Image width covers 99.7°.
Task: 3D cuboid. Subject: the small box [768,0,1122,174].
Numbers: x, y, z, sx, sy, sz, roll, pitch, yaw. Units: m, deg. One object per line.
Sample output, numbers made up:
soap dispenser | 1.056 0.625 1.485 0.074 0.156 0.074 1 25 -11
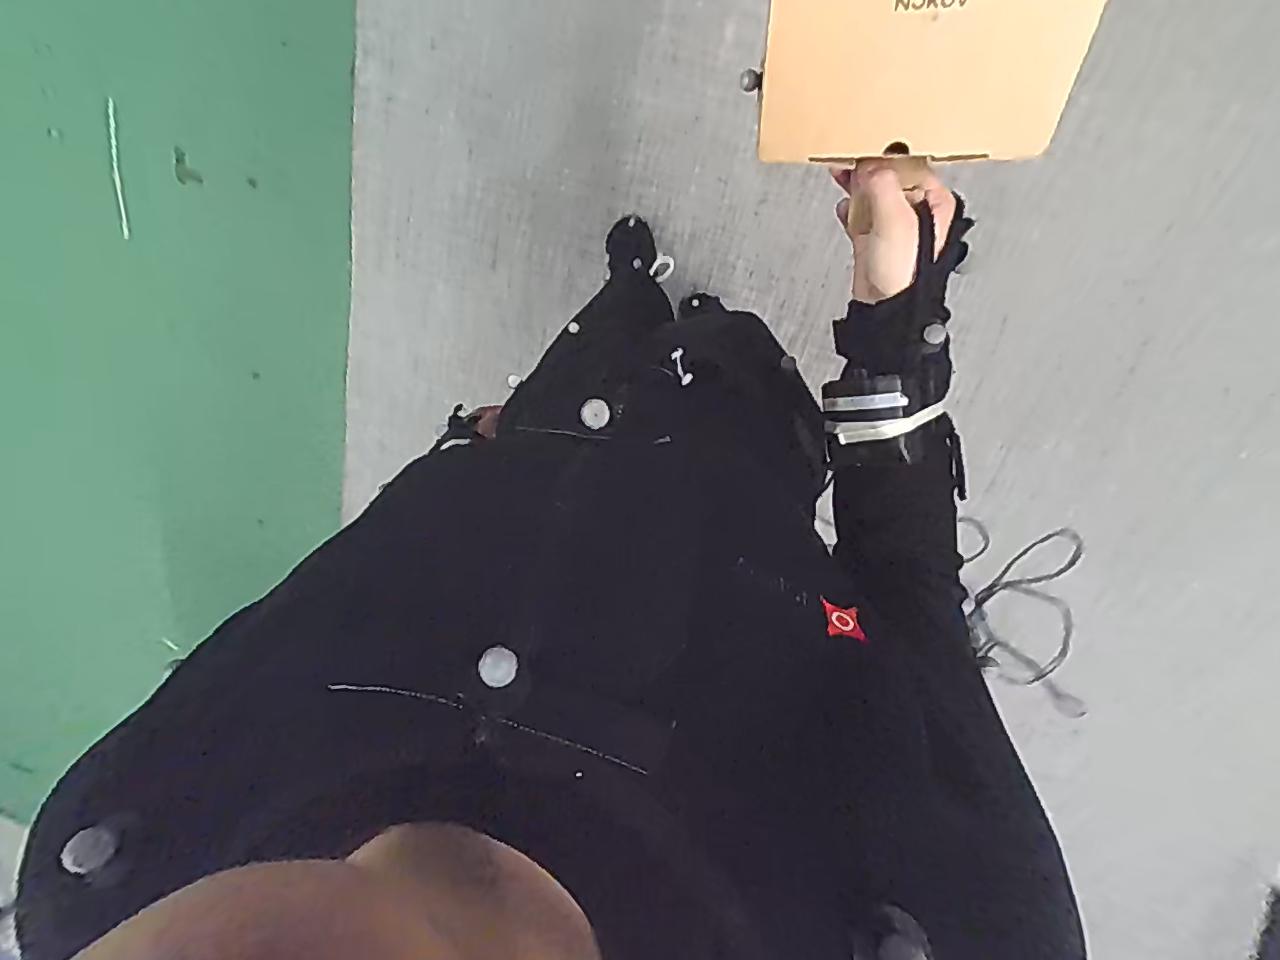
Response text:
small box | 0.169 -0.305 0.327 0.168 0.176 0.179 5 135 10
